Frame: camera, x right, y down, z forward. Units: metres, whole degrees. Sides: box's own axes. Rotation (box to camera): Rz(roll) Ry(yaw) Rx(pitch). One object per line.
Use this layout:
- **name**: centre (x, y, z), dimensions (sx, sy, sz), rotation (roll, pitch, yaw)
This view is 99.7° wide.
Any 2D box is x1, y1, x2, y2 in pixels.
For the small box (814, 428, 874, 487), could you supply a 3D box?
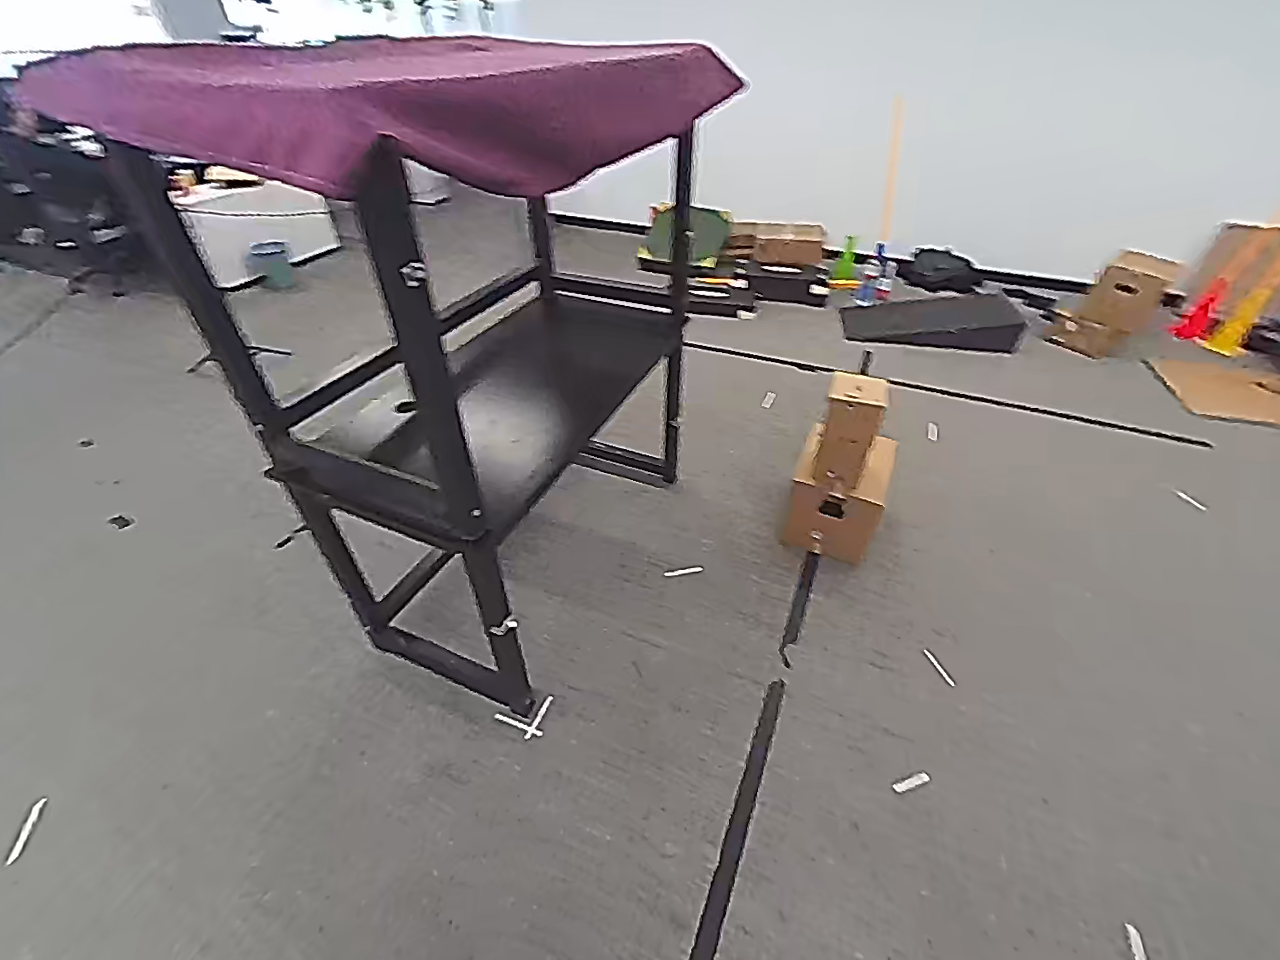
- **small box**: centre (0.711, -0.106, 1.868), dimensions (0.168, 0.176, 0.179), rotation (16, 43, 19)

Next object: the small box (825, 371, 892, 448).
- **small box**: centre (0.709, -0.230, 1.762), dimensions (0.168, 0.176, 0.179), rotation (13, 41, 17)

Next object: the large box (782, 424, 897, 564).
- **large box**: centre (0.760, 0.047, 2.066), dimensions (0.320, 0.320, 0.408), rotation (18, 43, 18)
